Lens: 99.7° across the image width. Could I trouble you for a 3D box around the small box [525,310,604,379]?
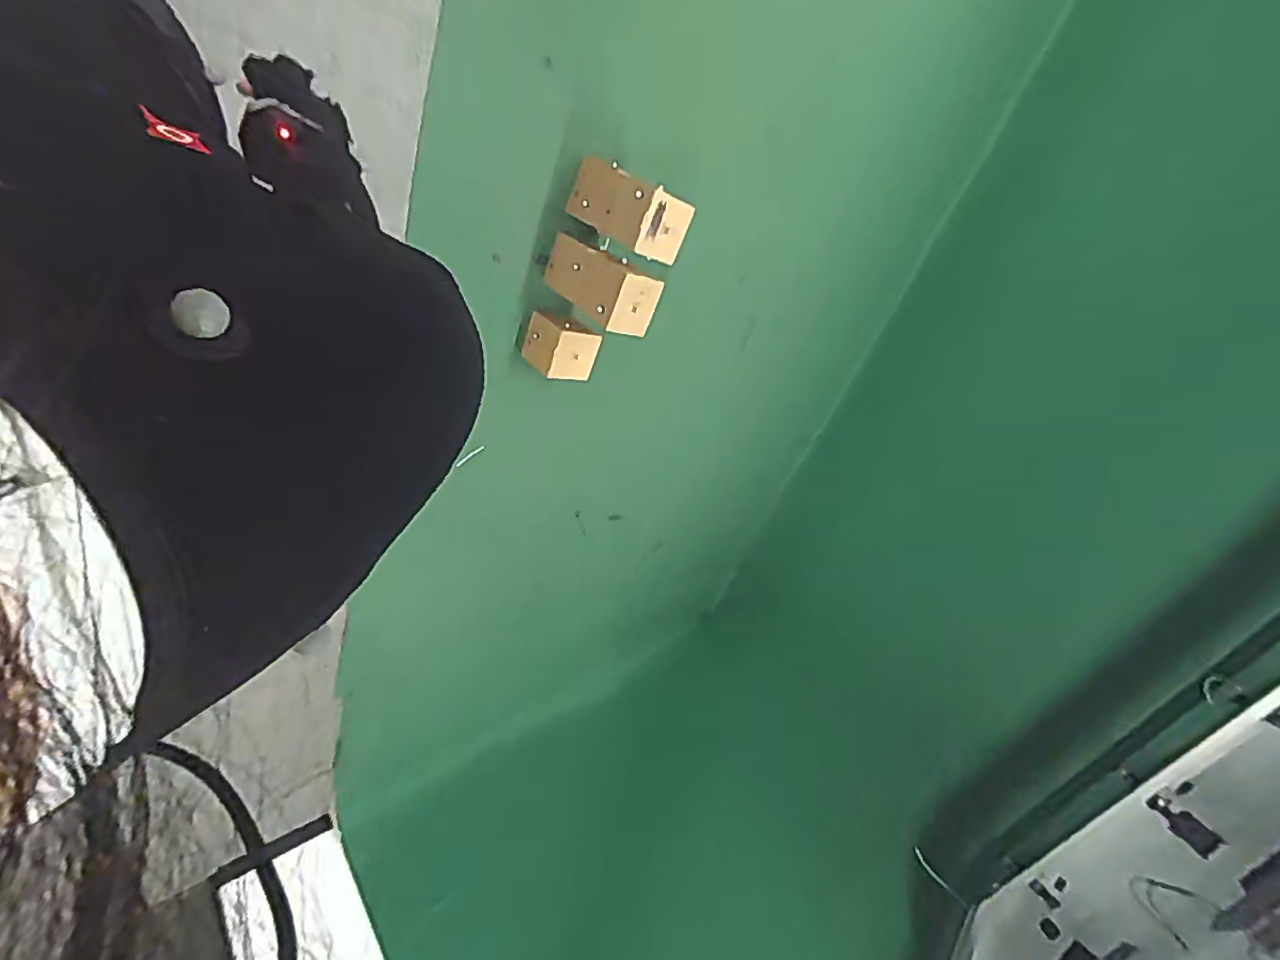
[{"bbox_3d":[-0.258,-0.457,1.824,0.179,0.176,0.168,-8,130,-45],"label":"small box"}]
